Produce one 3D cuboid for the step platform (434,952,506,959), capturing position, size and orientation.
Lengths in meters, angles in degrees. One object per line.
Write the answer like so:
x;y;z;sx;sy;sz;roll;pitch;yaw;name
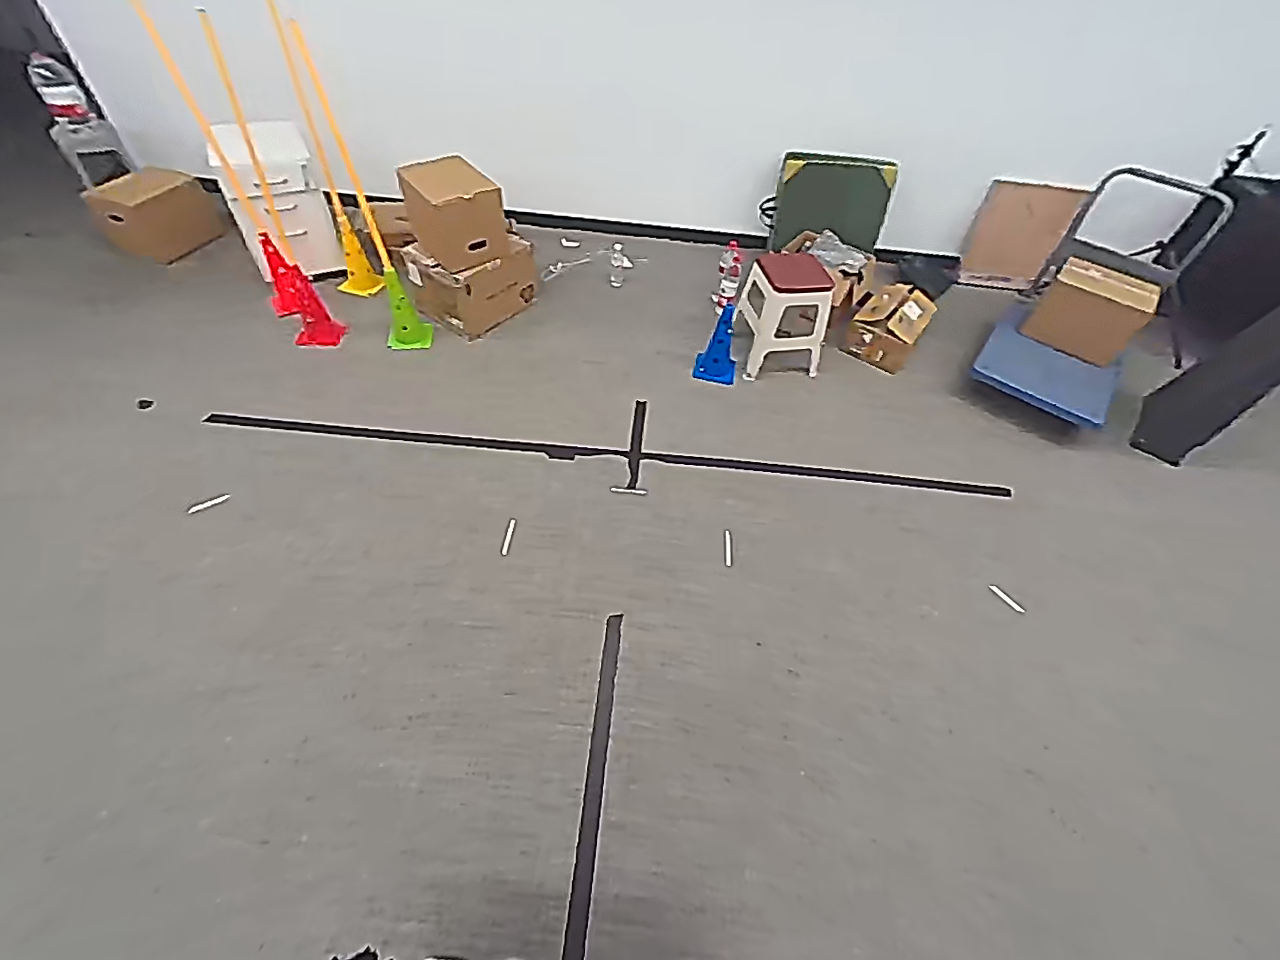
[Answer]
-0.126;1.152;1.080;0.684;0.204;0.286;5;50;-2;step platform
